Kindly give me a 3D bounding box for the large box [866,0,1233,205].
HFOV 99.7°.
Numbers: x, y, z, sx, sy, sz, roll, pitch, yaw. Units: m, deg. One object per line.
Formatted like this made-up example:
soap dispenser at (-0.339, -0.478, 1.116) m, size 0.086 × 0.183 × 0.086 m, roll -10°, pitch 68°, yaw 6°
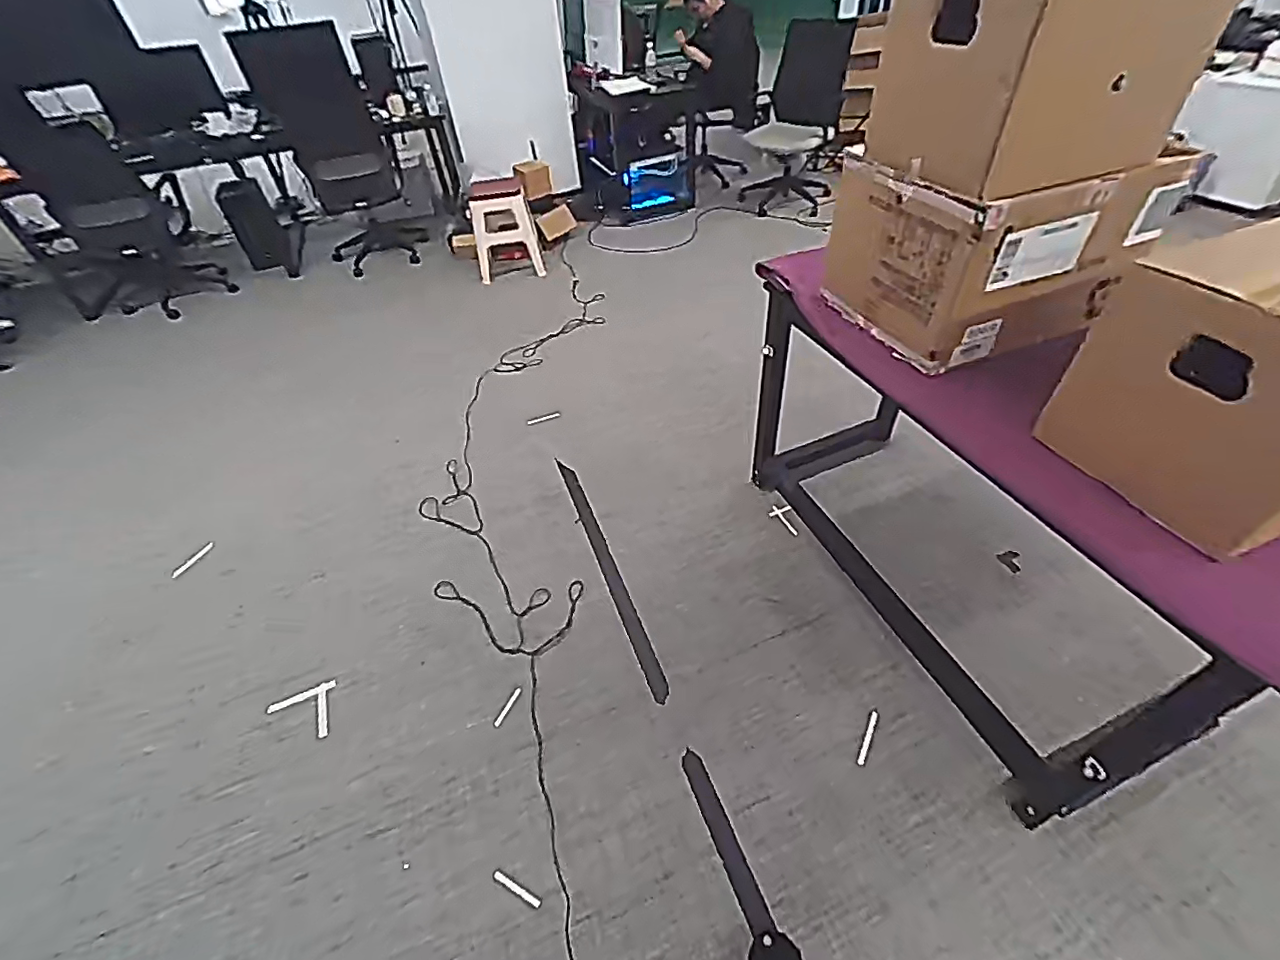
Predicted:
large box at (0.679, -0.715, 0.931) m, size 0.408 × 0.320 × 0.320 m, roll -19°, pitch 45°, yaw -12°
